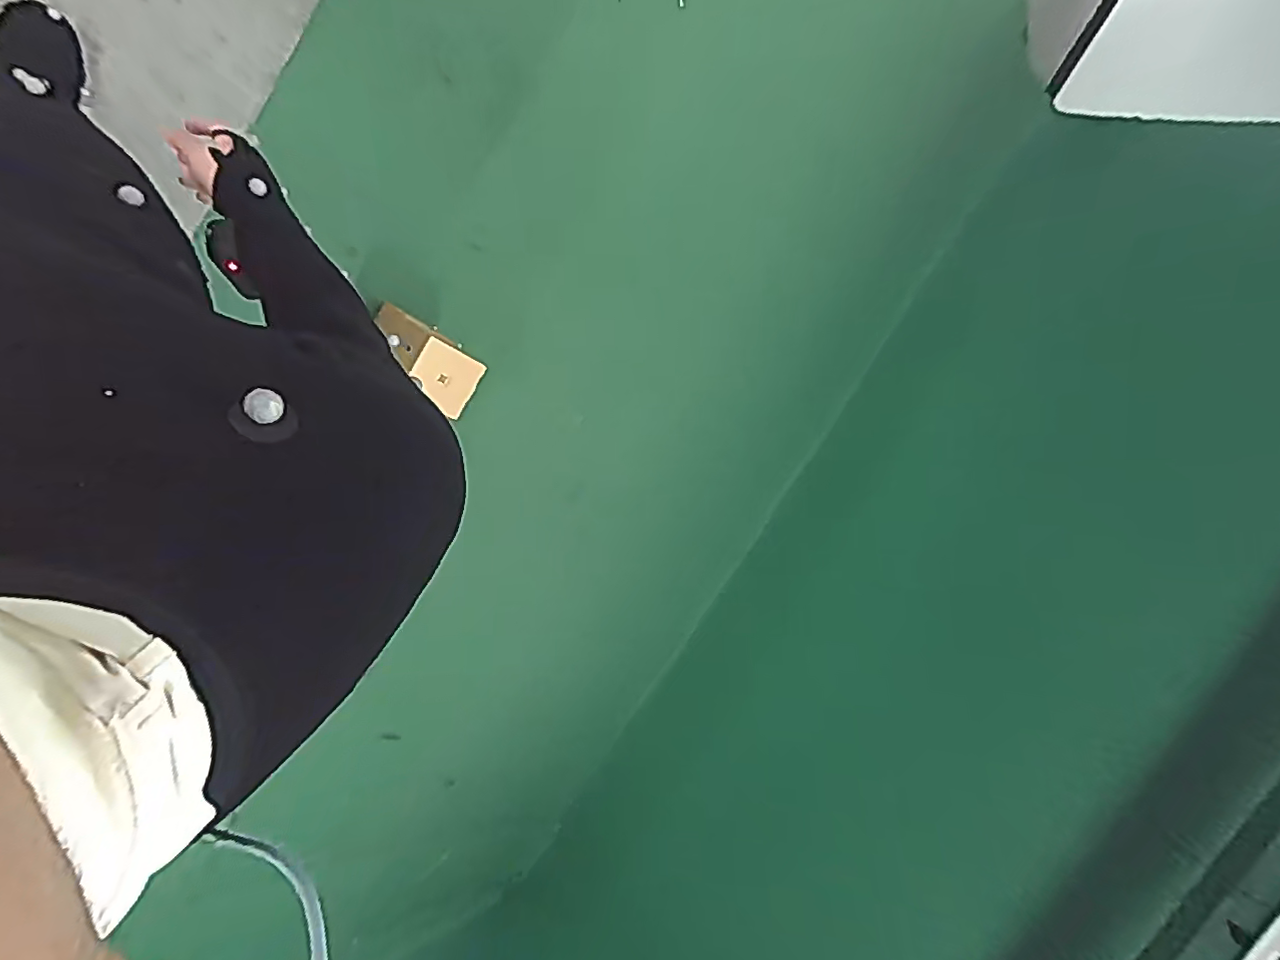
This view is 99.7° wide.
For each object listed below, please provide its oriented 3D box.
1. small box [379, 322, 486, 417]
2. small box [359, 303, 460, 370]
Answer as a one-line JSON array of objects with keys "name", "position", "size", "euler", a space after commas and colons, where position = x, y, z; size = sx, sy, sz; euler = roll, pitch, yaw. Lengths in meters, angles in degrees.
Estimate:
[{"name": "small box", "position": [-0.548, -0.294, 1.414], "size": [0.179, 0.176, 0.168], "euler": [26, 97, -52]}, {"name": "small box", "position": [-0.647, -0.370, 1.514], "size": [0.179, 0.176, 0.168], "euler": [27, 97, -50]}]
